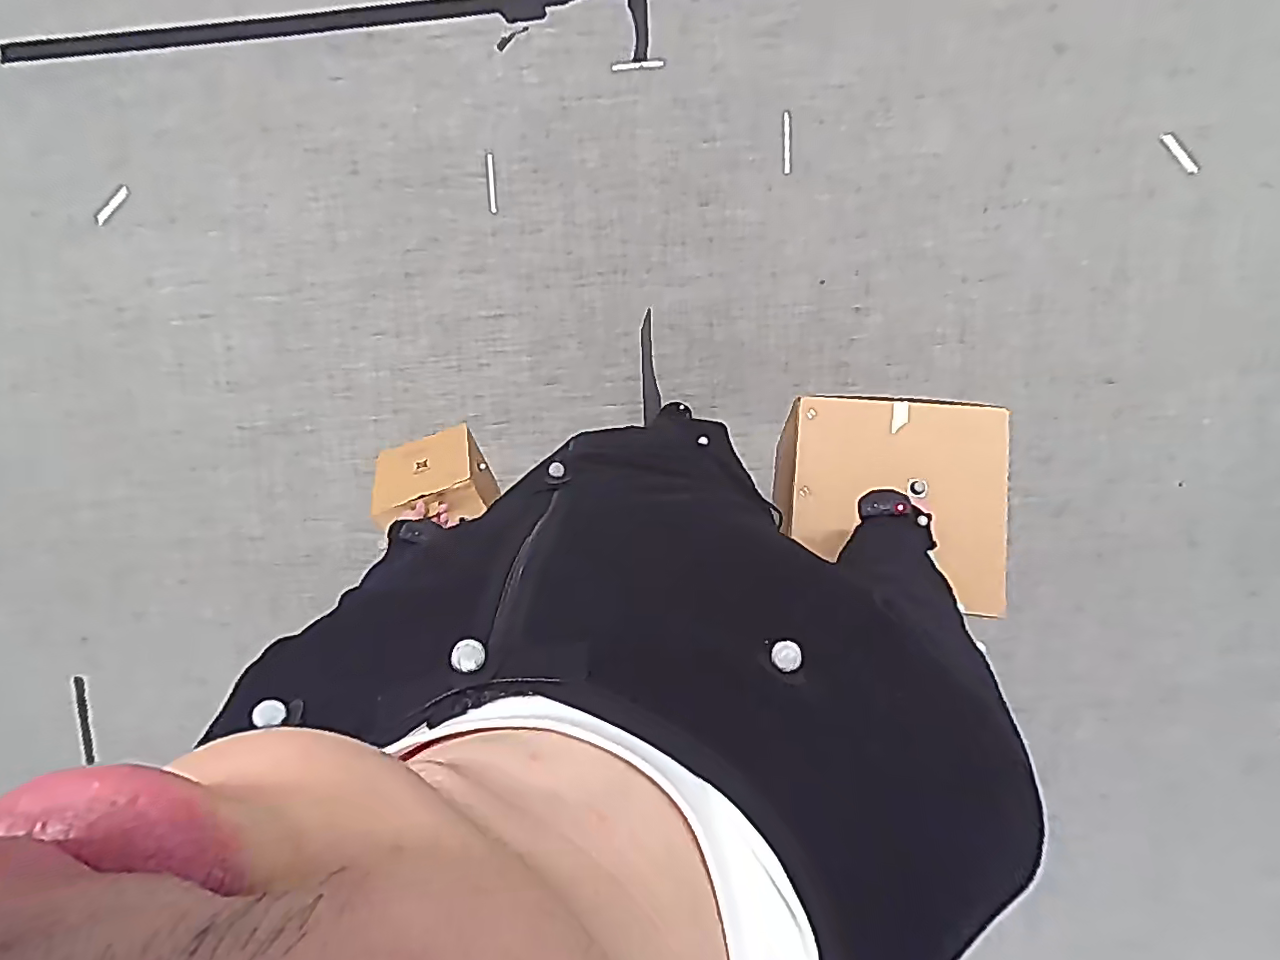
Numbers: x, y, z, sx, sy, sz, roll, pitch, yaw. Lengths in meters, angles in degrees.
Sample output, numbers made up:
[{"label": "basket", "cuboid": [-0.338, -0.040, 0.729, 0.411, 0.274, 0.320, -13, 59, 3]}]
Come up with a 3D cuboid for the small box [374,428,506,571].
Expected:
[{"label": "small box", "cuboid": [-0.354, 0.041, 0.977, 0.168, 0.179, 0.176, -20, 130, -6]}]
